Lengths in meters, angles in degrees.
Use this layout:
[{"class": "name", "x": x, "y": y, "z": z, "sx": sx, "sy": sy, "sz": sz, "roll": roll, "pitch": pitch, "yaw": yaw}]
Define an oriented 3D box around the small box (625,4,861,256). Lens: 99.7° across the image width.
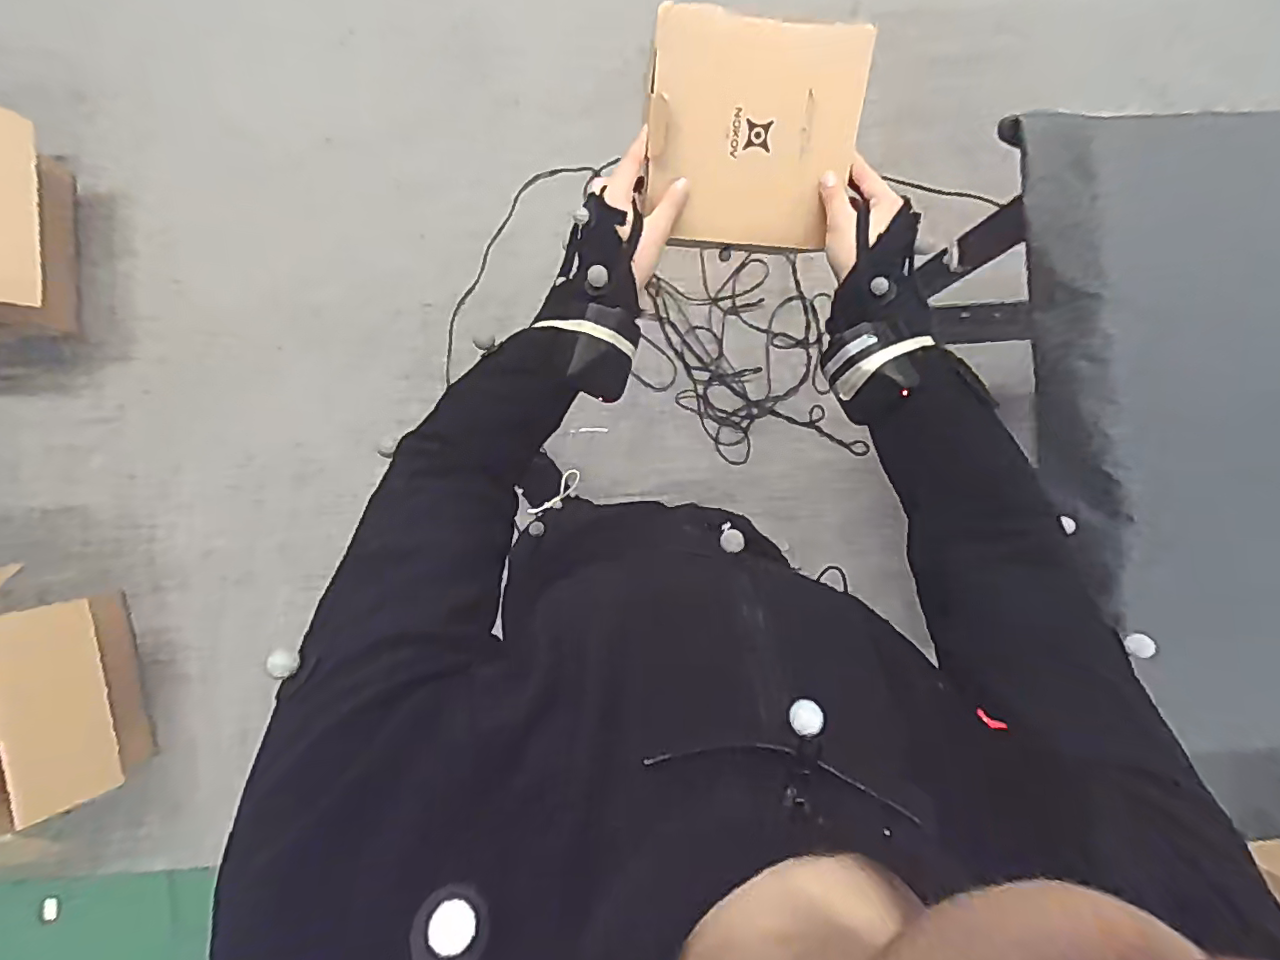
[{"class": "small box", "x": 0.077, "y": -0.309, "z": 0.515, "sx": 0.179, "sy": 0.176, "sz": 0.168, "roll": 1, "pitch": 111, "yaw": -5}]
